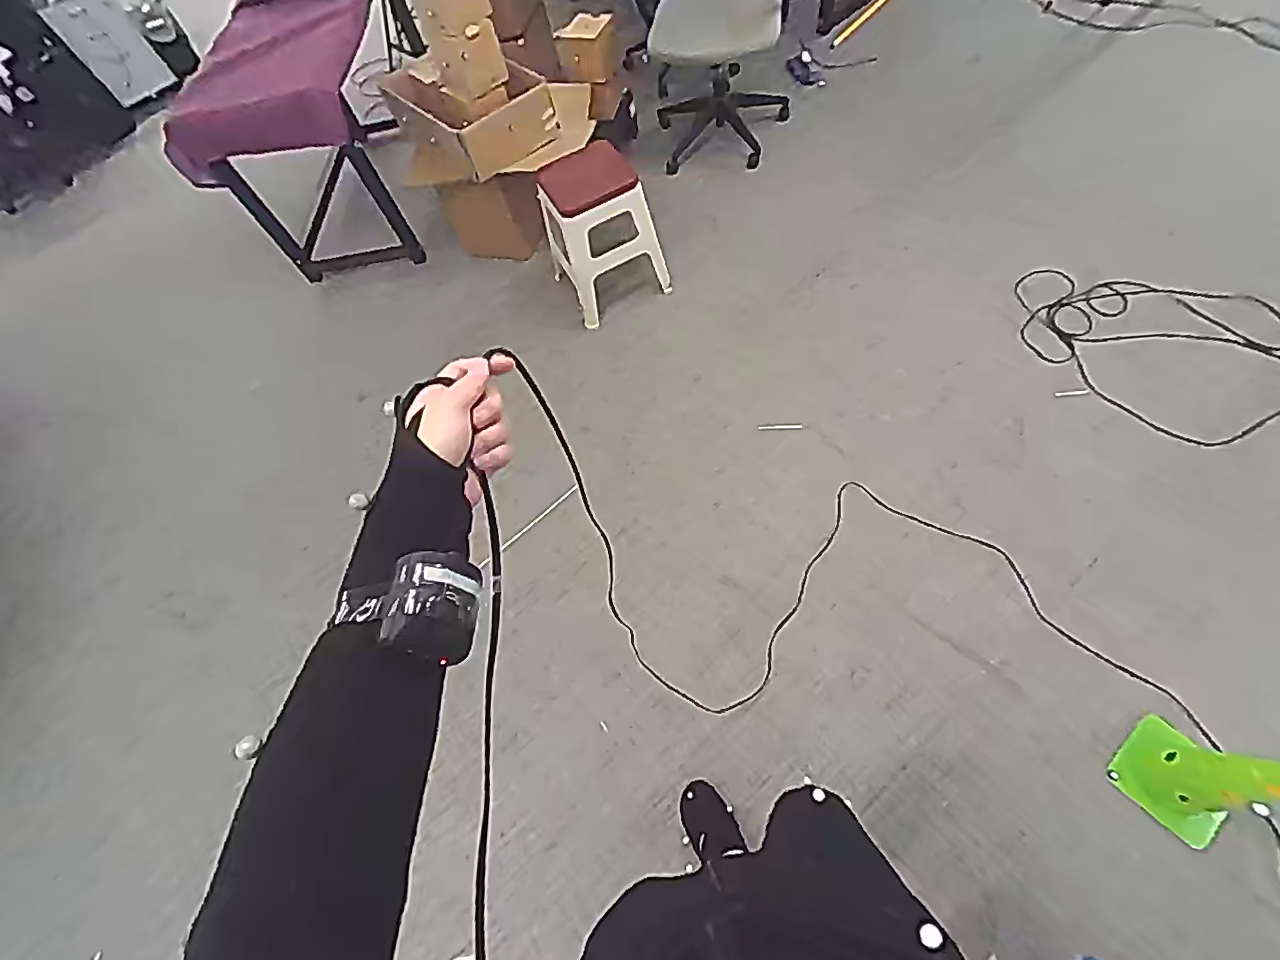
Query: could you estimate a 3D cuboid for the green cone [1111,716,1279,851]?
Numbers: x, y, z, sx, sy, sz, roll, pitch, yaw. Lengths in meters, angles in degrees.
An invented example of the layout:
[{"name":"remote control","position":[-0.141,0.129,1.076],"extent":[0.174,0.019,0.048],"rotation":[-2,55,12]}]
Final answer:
[{"name":"green cone","position":[1.157,0.580,1.040],"extent":[0.202,0.368,0.200],"rotation":[-42,64,-13]}]
